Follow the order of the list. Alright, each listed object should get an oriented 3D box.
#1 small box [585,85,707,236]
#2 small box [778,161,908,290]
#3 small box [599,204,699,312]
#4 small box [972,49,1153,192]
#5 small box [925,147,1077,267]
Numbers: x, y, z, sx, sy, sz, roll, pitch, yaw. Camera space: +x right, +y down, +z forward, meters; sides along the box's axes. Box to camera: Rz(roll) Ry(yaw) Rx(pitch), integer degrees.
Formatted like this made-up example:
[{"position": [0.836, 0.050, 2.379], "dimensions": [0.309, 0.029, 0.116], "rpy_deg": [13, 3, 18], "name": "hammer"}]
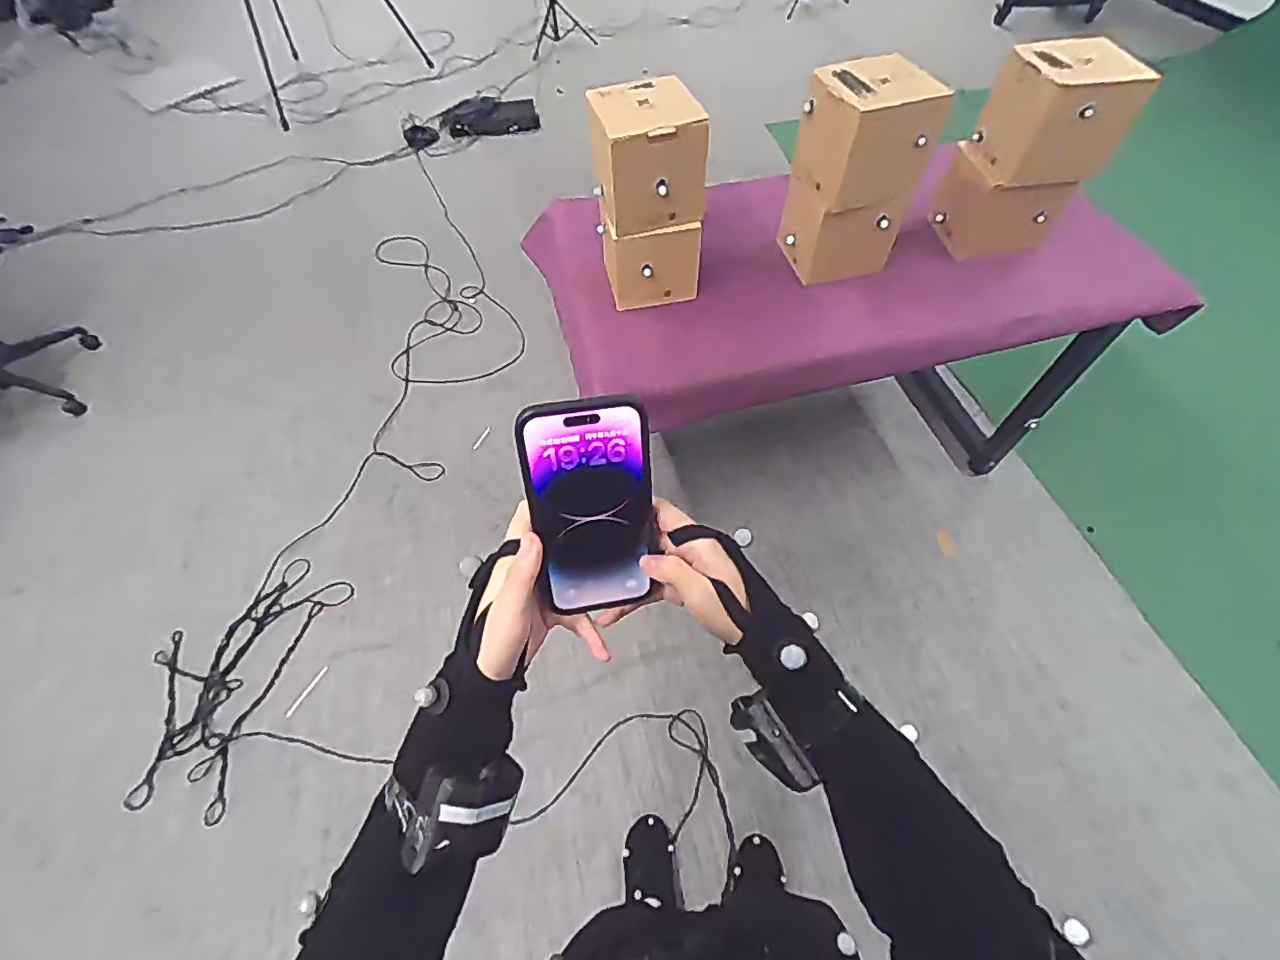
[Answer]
[{"position": [0.010, -0.553, 0.955], "dimensions": [0.168, 0.176, 0.179], "rpy_deg": [-15, 59, -8], "name": "small box"}, {"position": [0.404, -0.517, 1.109], "dimensions": [0.179, 0.176, 0.168], "rpy_deg": [-11, 57, -5], "name": "small box"}, {"position": [0.018, -0.458, 1.088], "dimensions": [0.168, 0.176, 0.179], "rpy_deg": [-11, 57, -4], "name": "small box"}, {"position": [0.745, -0.649, 0.986], "dimensions": [0.179, 0.176, 0.168], "rpy_deg": [-6, 57, -2], "name": "small box"}, {"position": [0.739, -0.571, 1.131], "dimensions": [0.179, 0.176, 0.168], "rpy_deg": [-6, 57, -1], "name": "small box"}]
